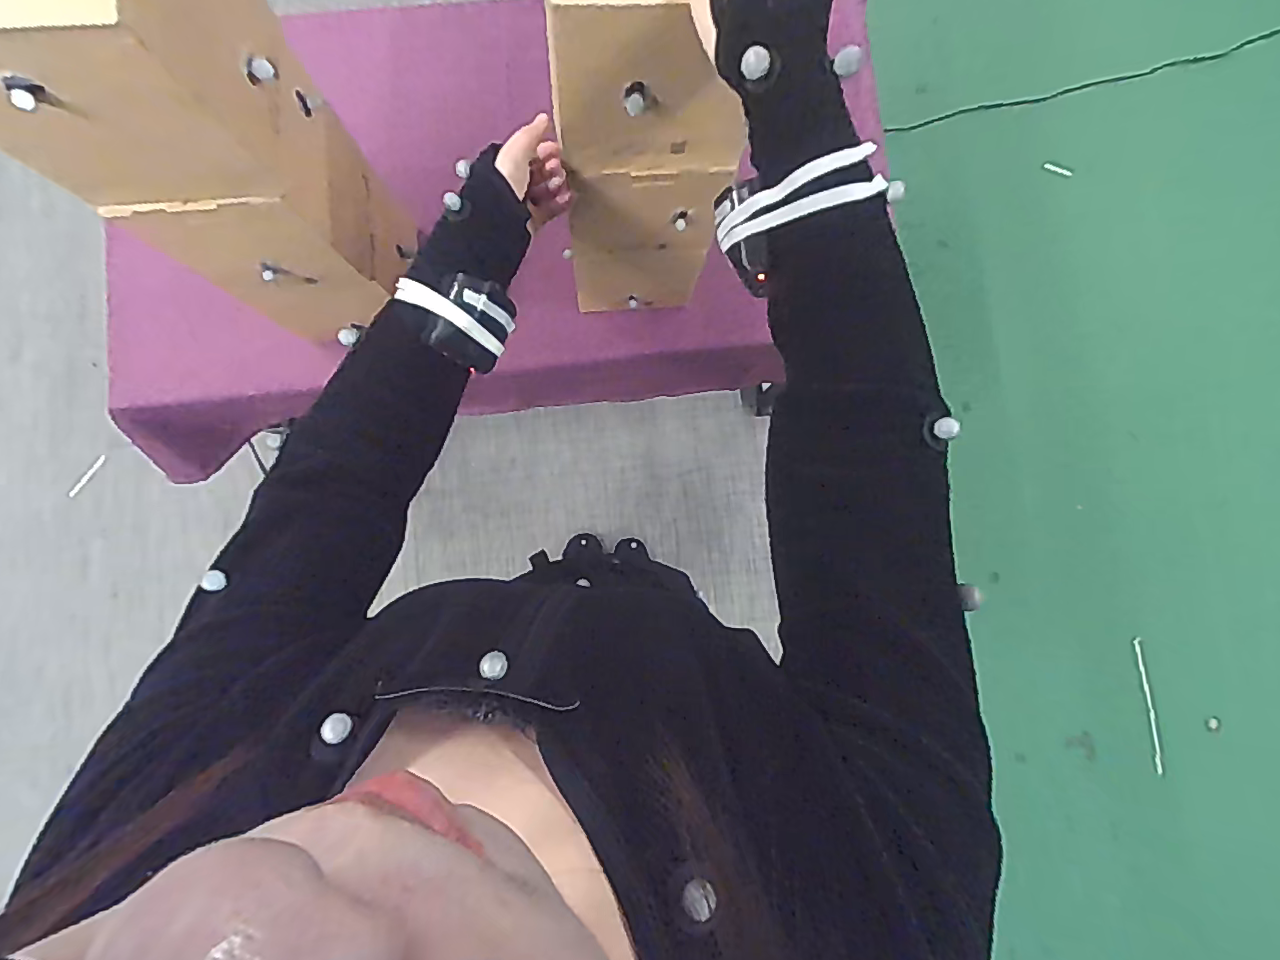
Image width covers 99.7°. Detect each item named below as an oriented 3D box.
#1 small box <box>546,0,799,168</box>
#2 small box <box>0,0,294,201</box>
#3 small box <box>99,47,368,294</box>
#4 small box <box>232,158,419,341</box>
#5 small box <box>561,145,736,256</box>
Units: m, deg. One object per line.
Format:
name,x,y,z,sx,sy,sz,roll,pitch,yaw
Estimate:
small box,0.010,-0.374,0.428,0.168,0.176,0.179,-5,86,-6
small box,-0.402,-0.337,0.411,0.179,0.176,0.168,-4,85,-3
small box,-0.412,-0.321,0.575,0.168,0.176,0.179,-6,85,-2
small box,-0.417,-0.303,0.739,0.179,0.176,0.168,-8,85,-3
small box,-0.002,-0.361,0.589,0.168,0.176,0.179,-6,86,-5
